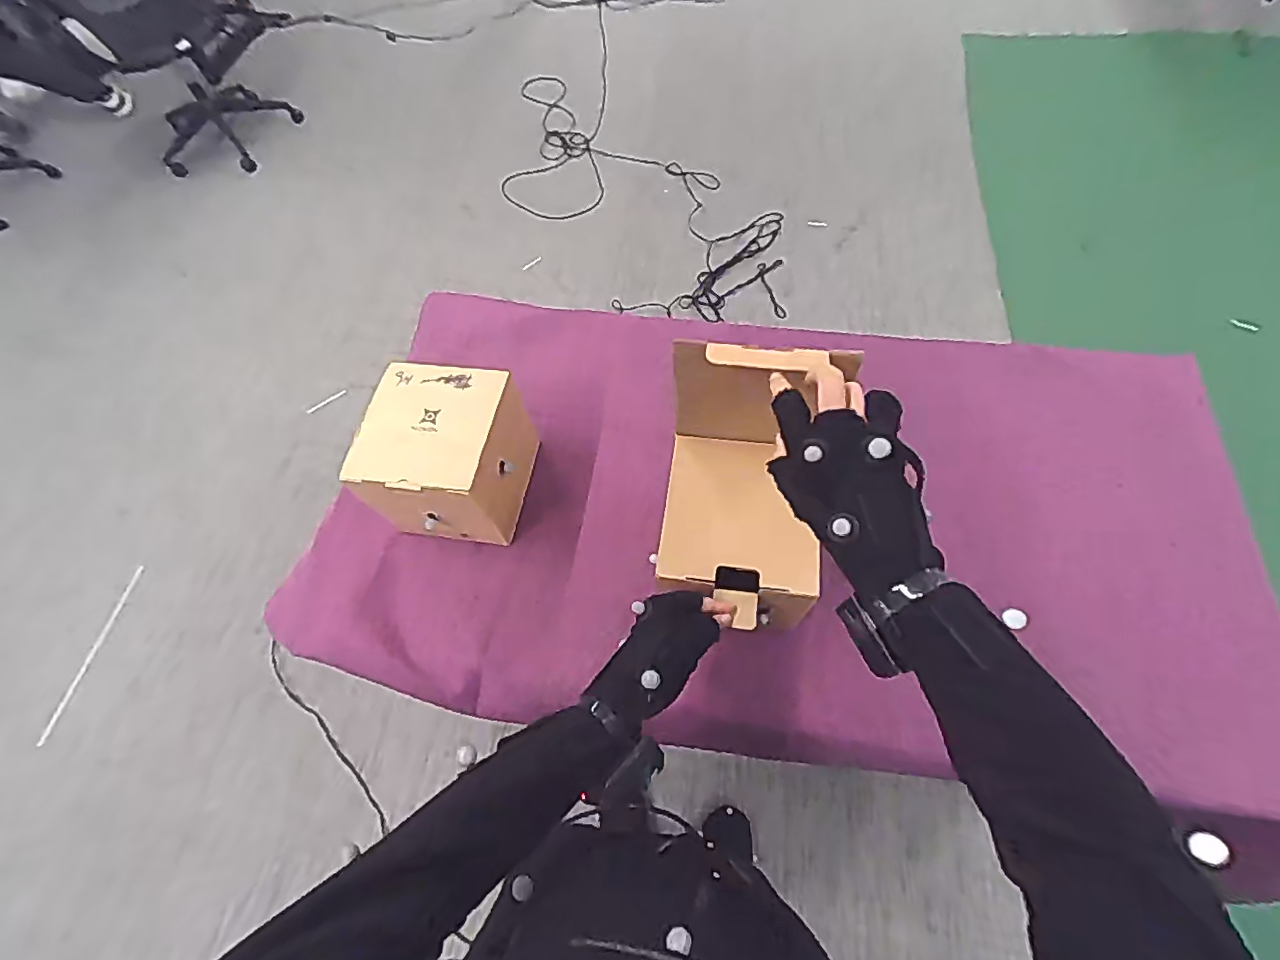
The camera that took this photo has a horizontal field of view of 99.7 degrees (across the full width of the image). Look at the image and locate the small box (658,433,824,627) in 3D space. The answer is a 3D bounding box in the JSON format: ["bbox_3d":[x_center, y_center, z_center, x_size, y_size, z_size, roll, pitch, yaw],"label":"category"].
[{"bbox_3d":[0.117,0.066,0.646,0.168,0.176,0.179,6,63,7],"label":"small box"}]

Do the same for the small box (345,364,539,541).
[{"bbox_3d":[-0.247,-0.031,0.727,0.168,0.176,0.179,6,64,7],"label":"small box"}]
